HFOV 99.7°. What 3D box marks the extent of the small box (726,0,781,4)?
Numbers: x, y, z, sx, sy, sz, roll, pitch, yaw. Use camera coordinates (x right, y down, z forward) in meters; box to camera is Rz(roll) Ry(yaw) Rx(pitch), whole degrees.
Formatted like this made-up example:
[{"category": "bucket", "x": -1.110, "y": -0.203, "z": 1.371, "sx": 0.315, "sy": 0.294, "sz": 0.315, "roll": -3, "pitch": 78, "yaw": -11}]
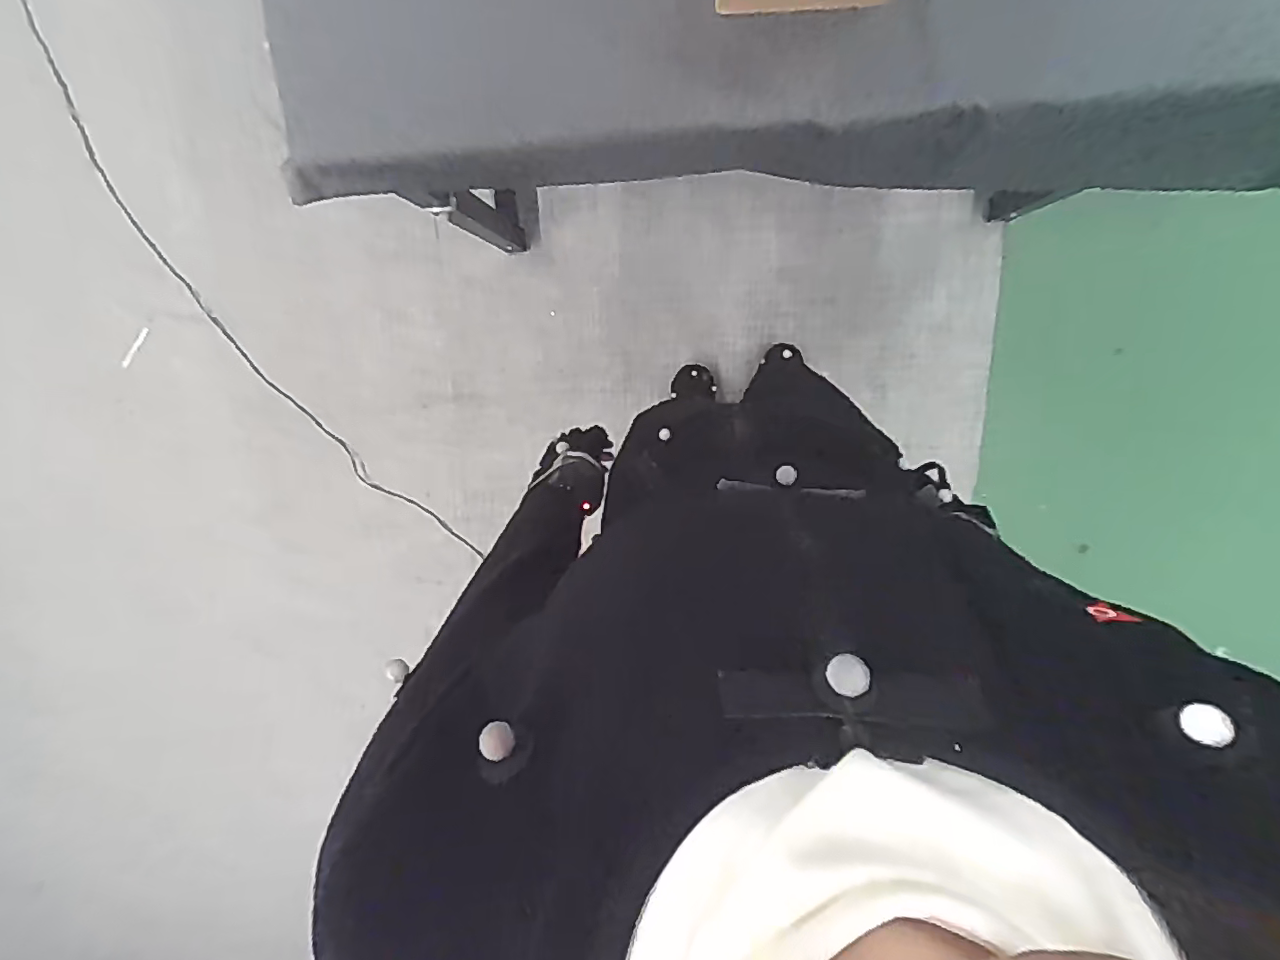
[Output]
[{"category": "small box", "x": 0.159, "y": -0.561, "z": 0.469, "sx": 0.179, "sy": 0.176, "sz": 0.168, "roll": -3, "pitch": 102, "yaw": 5}]
